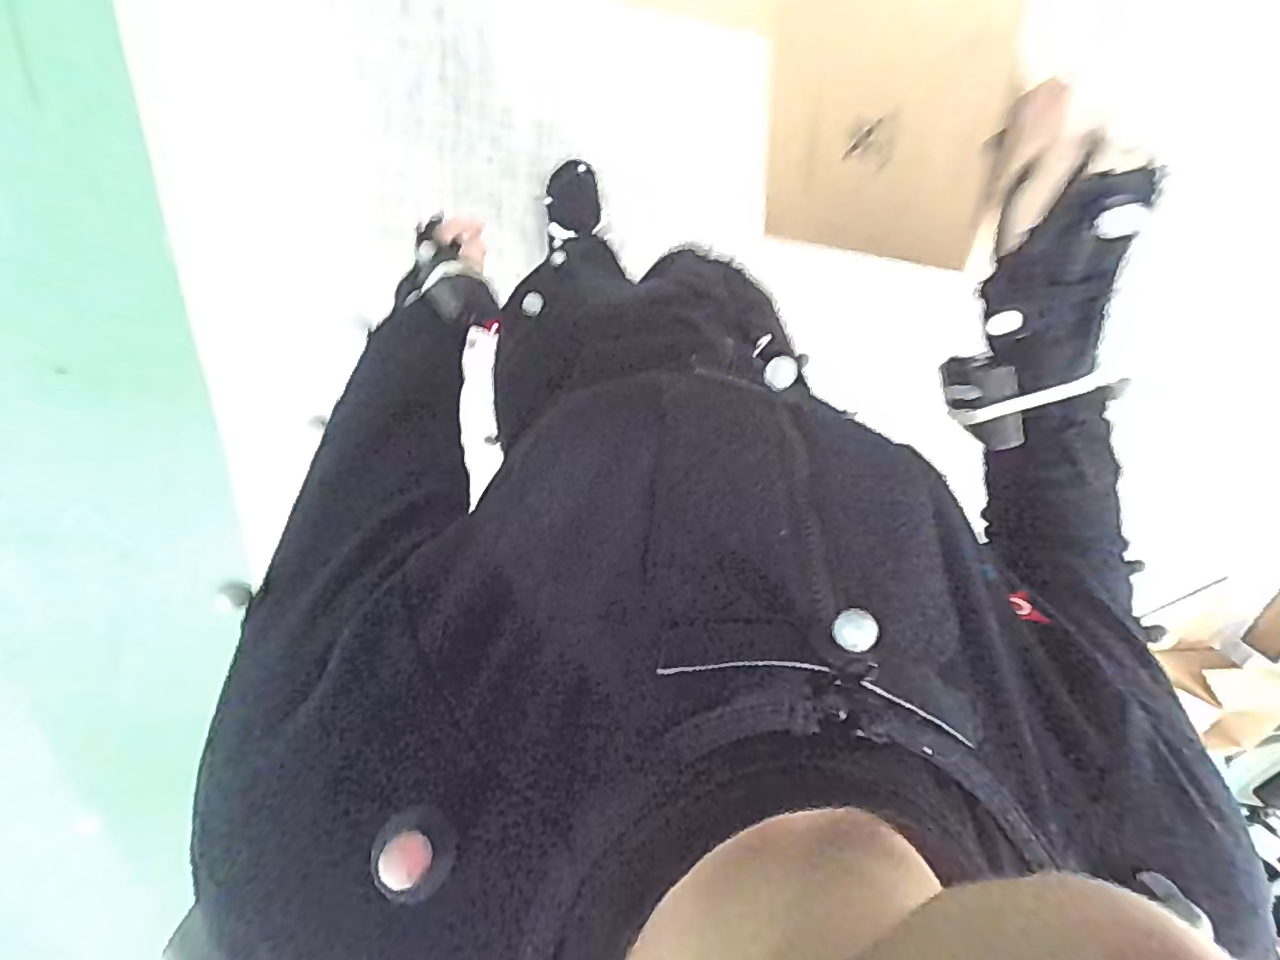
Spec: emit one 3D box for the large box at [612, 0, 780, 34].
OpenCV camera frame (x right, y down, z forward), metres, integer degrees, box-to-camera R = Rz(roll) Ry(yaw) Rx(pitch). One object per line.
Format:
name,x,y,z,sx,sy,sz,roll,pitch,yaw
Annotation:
large box,0.179,-0.912,0.811,0.408,0.320,0.320,1,121,-12

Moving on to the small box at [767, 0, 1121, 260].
small box,0.221,-0.293,0.410,0.176,0.179,0.168,-38,141,-28
